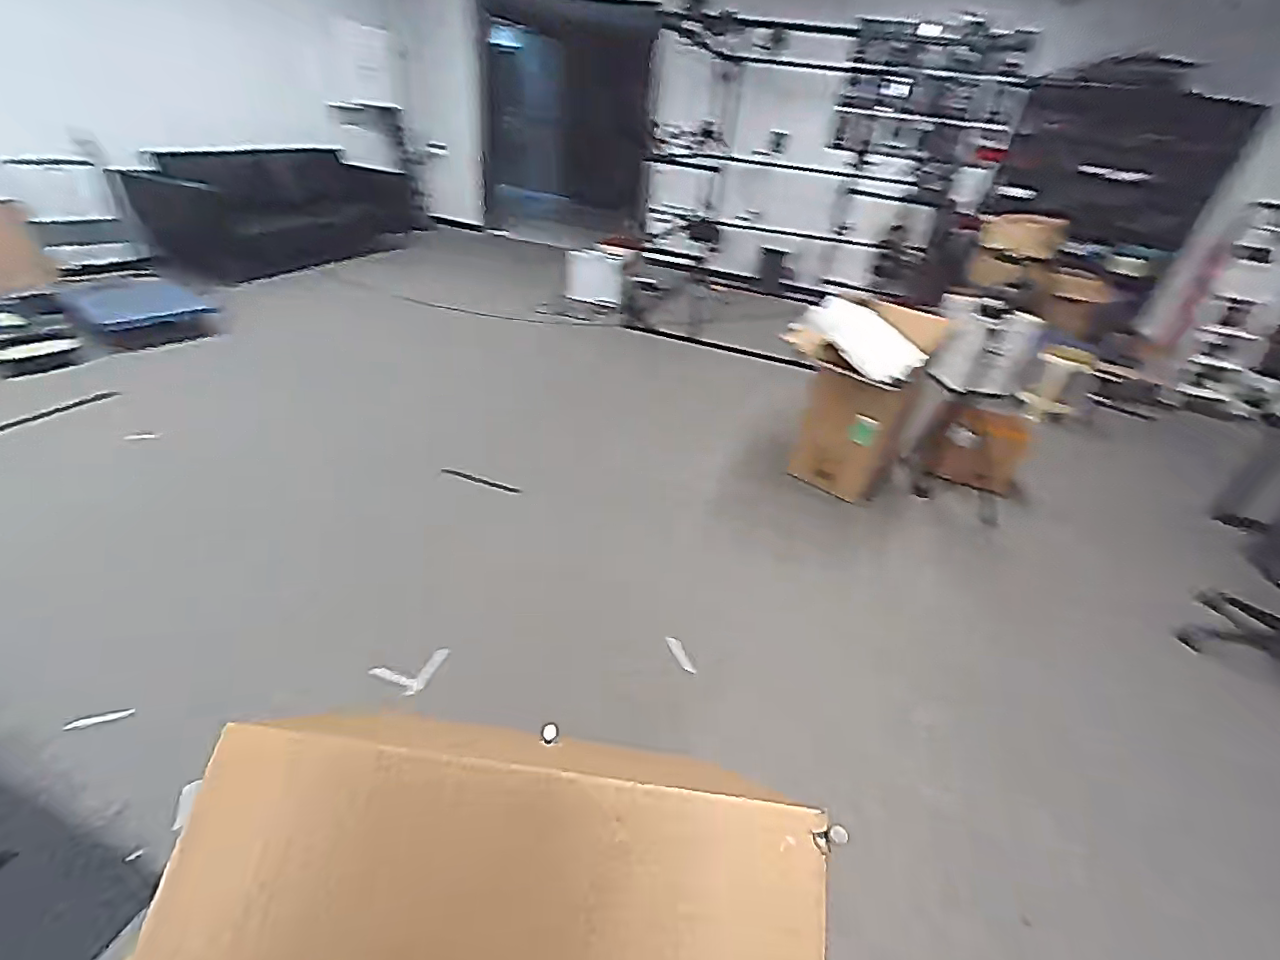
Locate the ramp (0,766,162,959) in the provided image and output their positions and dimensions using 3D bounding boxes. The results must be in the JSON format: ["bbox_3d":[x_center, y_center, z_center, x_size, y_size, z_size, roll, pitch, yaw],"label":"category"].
[{"bbox_3d":[-1.534,0.752,1.021,0.991,0.206,0.509,17,33,11],"label":"ramp"}]
